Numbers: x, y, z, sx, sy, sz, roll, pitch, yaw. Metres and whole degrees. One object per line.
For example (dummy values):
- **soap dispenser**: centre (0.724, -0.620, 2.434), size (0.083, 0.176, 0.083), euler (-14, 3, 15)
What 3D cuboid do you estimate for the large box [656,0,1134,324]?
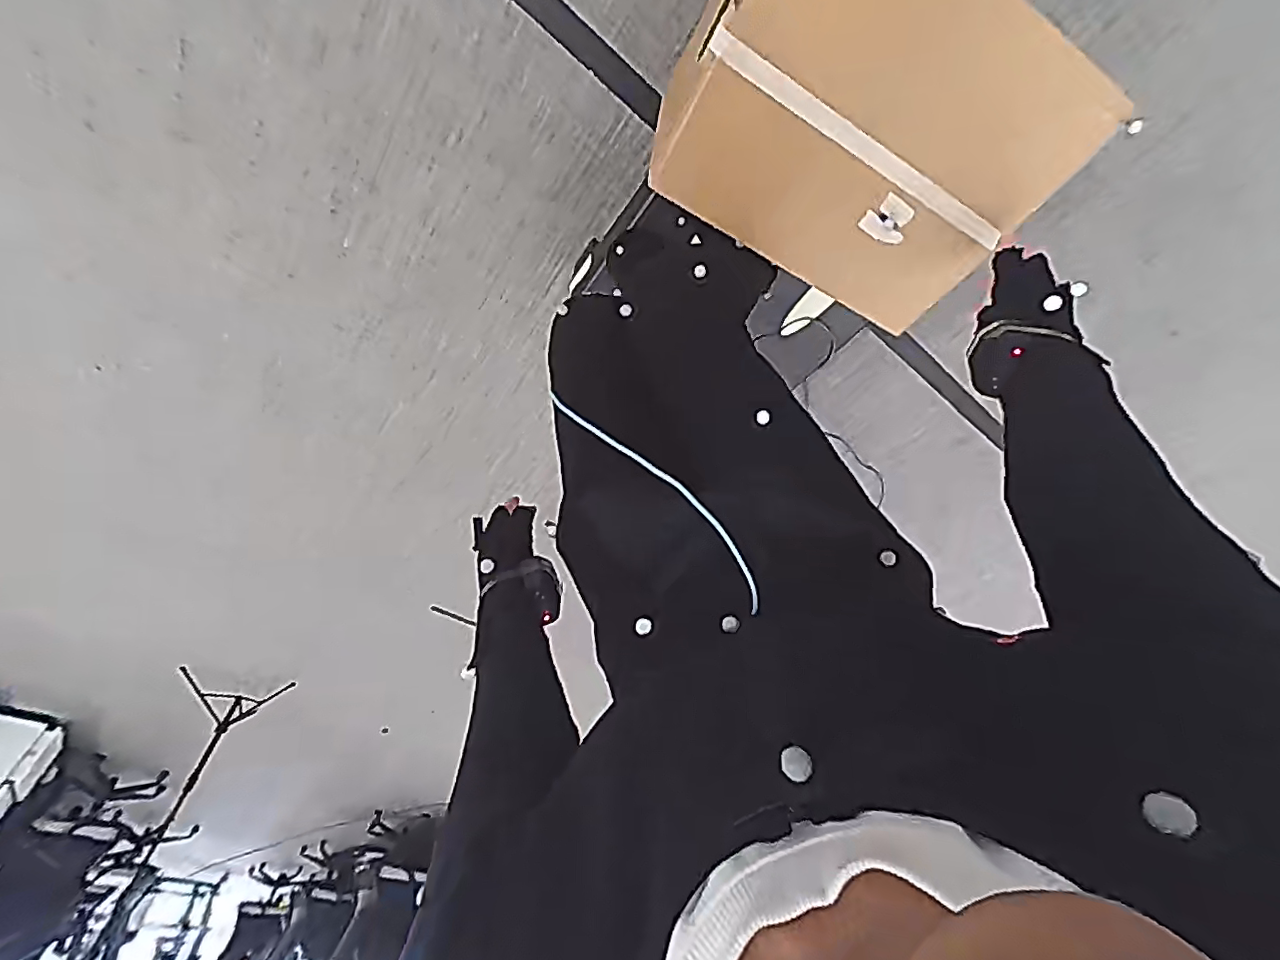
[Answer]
- **large box**: centre (0.268, -0.481, 0.690), size (0.408, 0.320, 0.320), euler (21, 138, -18)
